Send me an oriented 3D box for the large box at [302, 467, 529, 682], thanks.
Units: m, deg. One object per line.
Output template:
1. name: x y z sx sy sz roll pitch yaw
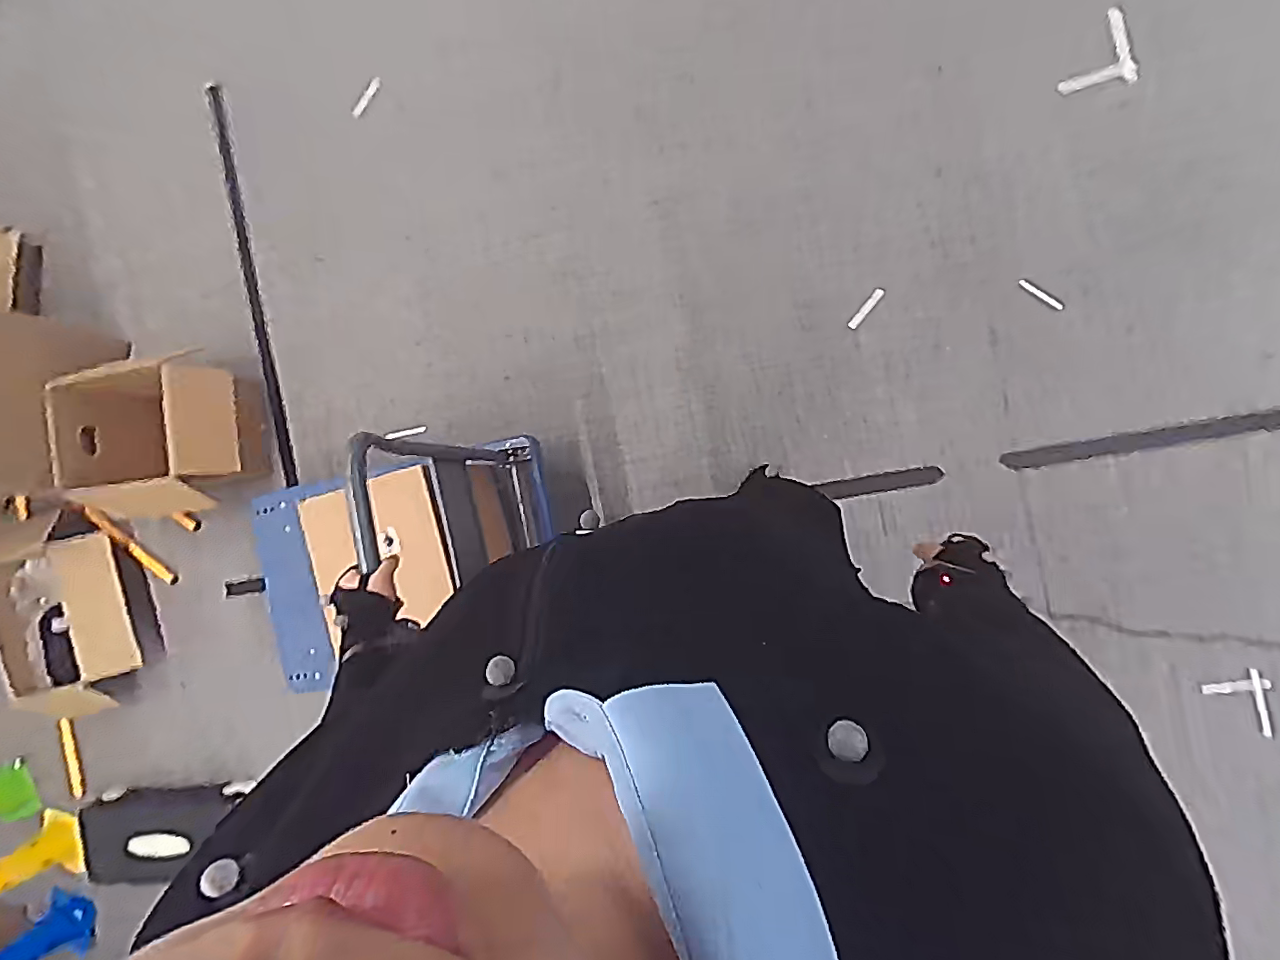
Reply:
1. large box: -0.505 0.201 1.278 0.320 0.320 0.408 -16 88 10
